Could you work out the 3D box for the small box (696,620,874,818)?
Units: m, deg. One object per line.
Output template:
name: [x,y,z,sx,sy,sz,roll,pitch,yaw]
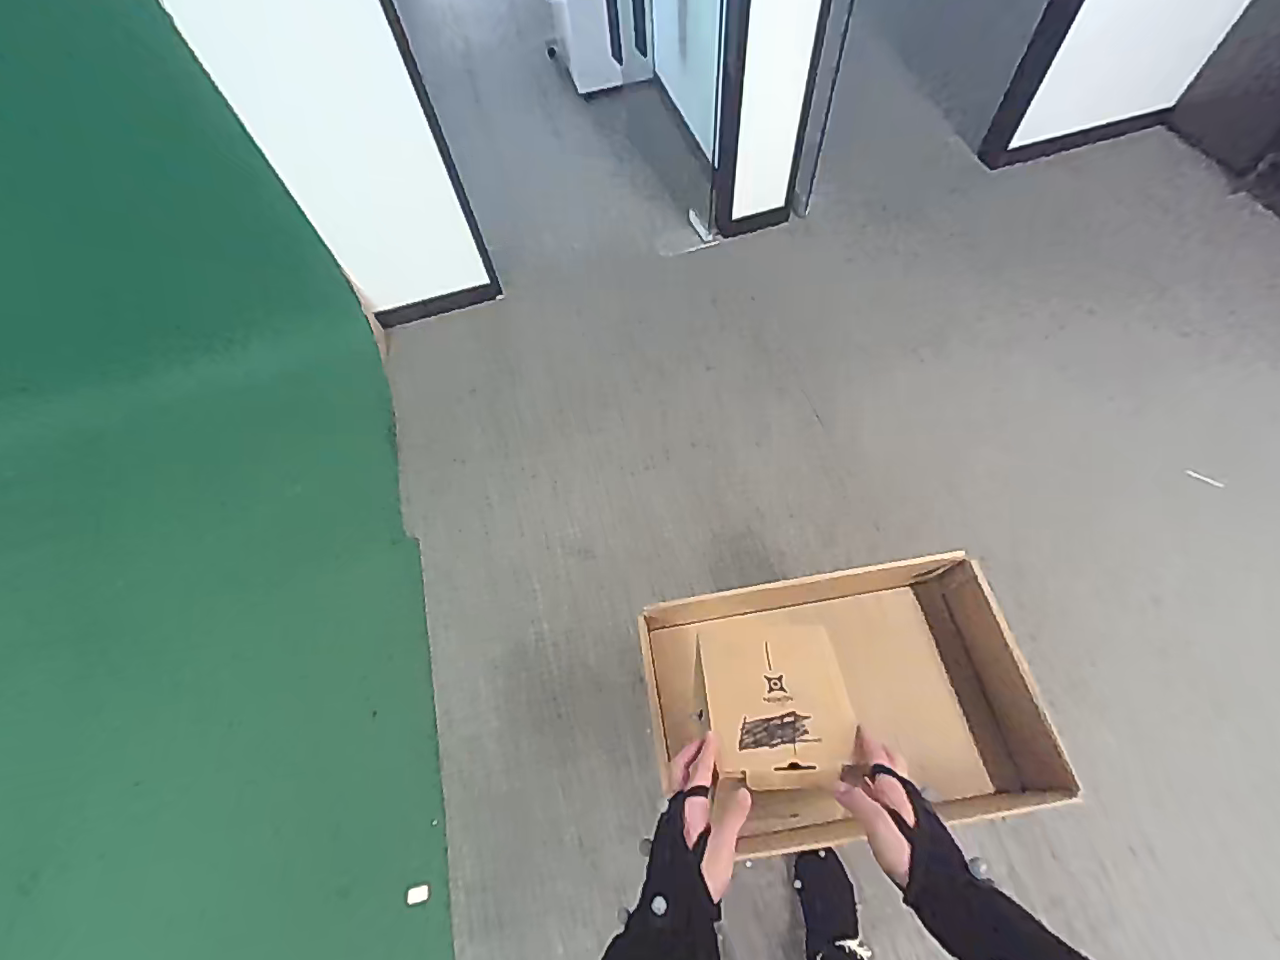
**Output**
small box: [0.162,0.297,0.668,0.168,0.176,0.179,-3,41,-1]
